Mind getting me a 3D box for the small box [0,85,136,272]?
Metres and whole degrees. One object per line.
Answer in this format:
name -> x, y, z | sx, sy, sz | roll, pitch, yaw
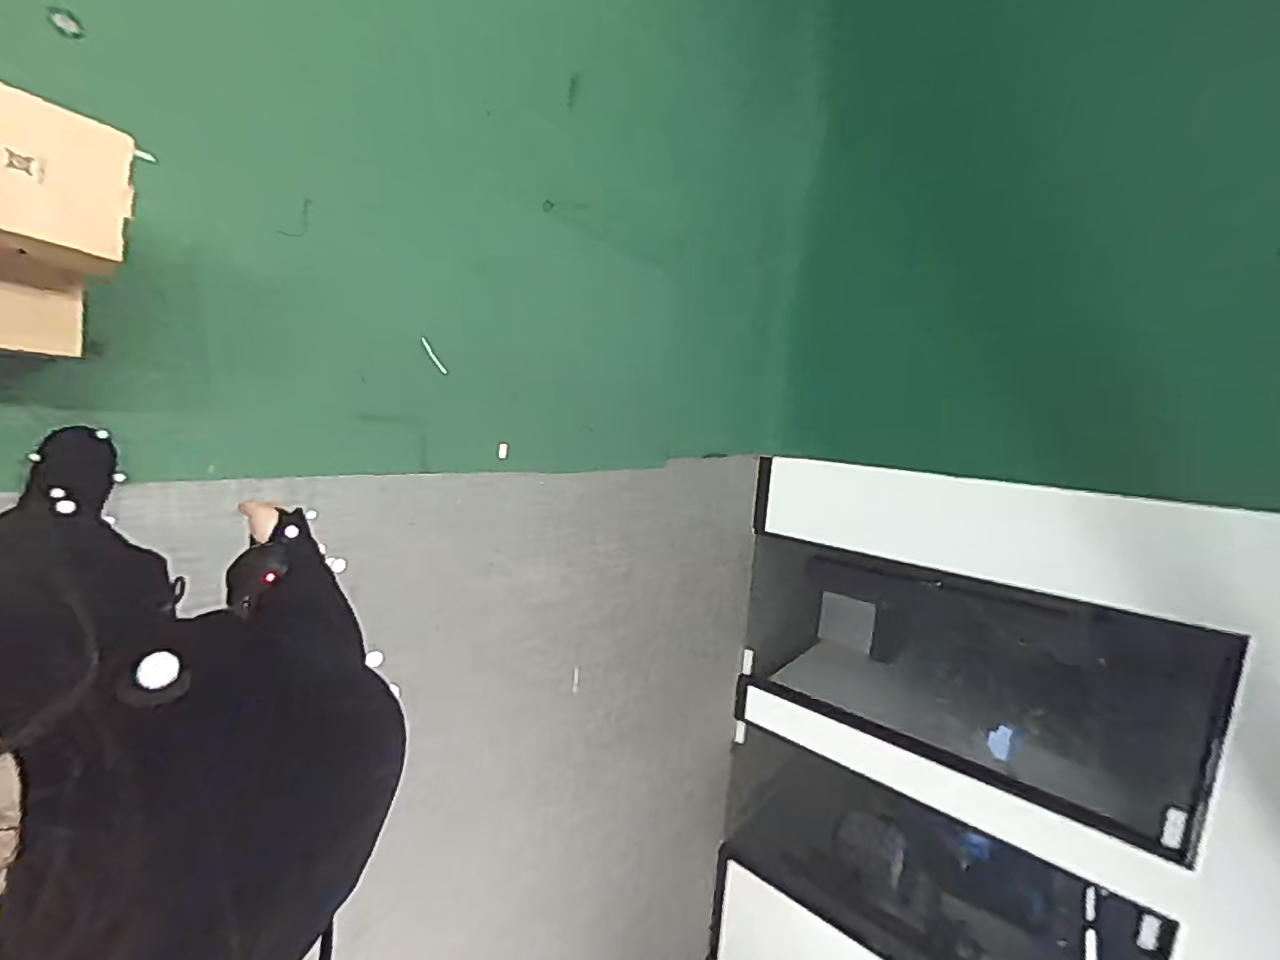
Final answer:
small box -> -0.785, -0.378, 0.689 | 0.179, 0.176, 0.168 | 7, 92, -51
